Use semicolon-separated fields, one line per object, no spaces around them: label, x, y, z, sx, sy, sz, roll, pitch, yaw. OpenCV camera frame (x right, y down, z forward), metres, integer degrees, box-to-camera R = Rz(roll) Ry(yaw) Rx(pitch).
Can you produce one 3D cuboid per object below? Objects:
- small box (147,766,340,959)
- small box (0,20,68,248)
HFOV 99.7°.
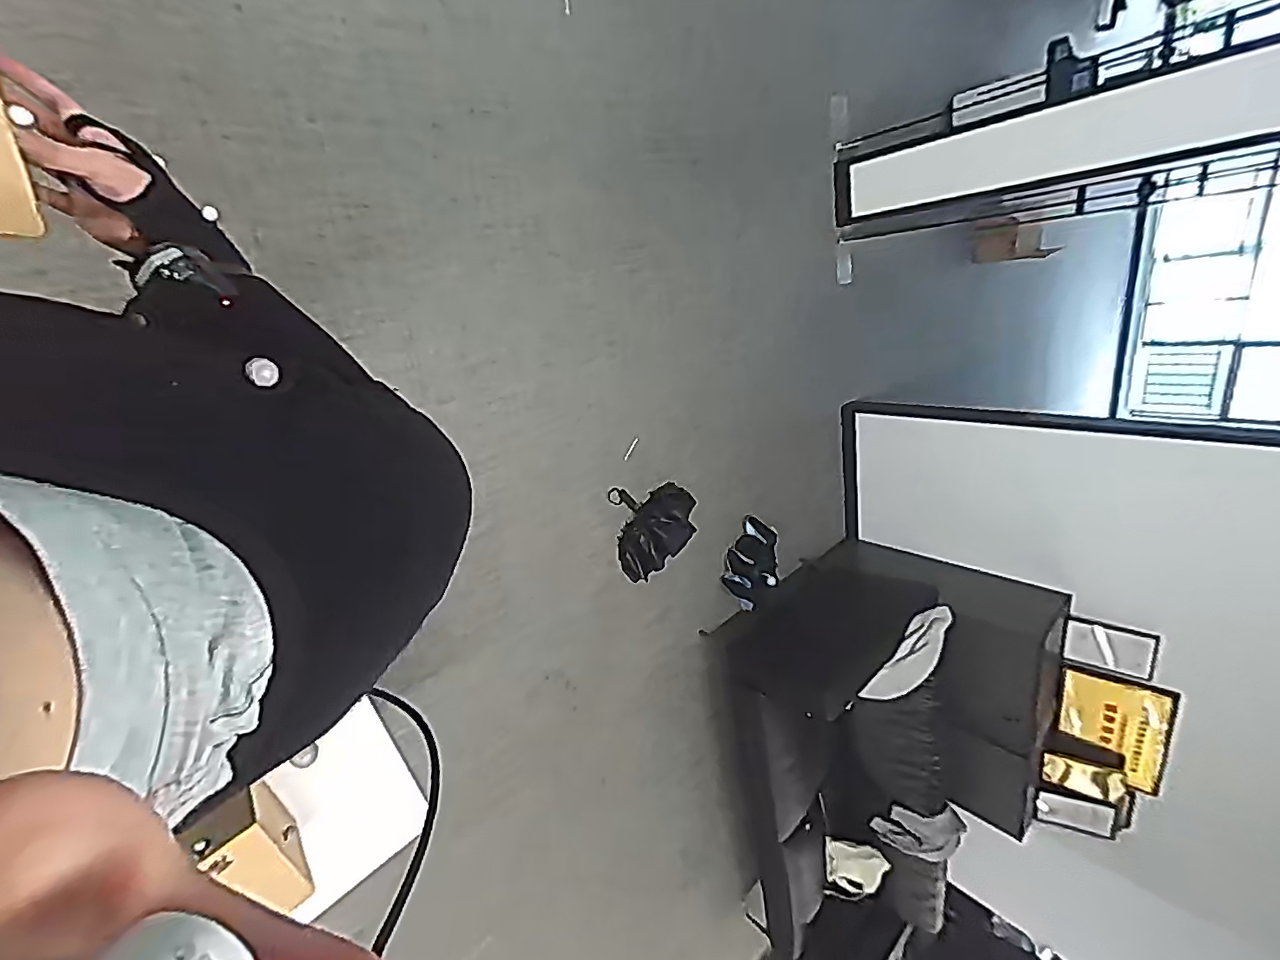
small box;-0.591;0.578;0.814;0.168;0.176;0.179;-34;121;-32
small box;-0.506;-0.251;0.338;0.168;0.176;0.179;-21;127;-43
